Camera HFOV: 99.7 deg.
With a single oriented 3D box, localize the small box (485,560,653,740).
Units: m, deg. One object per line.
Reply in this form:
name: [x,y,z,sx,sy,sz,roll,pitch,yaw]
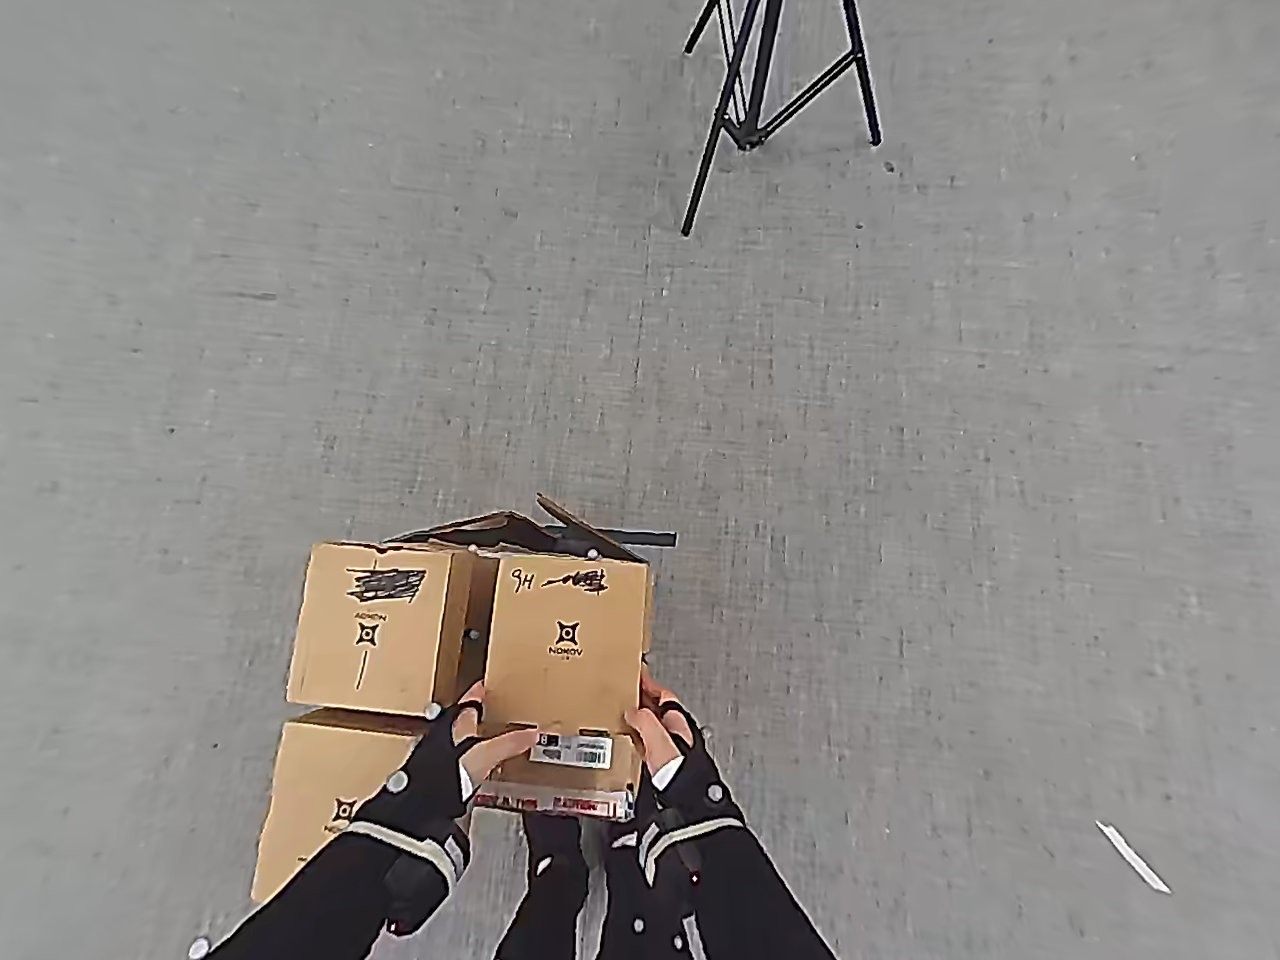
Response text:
small box: [-0.072,0.194,0.651,0.168,0.176,0.179,3,77,3]
